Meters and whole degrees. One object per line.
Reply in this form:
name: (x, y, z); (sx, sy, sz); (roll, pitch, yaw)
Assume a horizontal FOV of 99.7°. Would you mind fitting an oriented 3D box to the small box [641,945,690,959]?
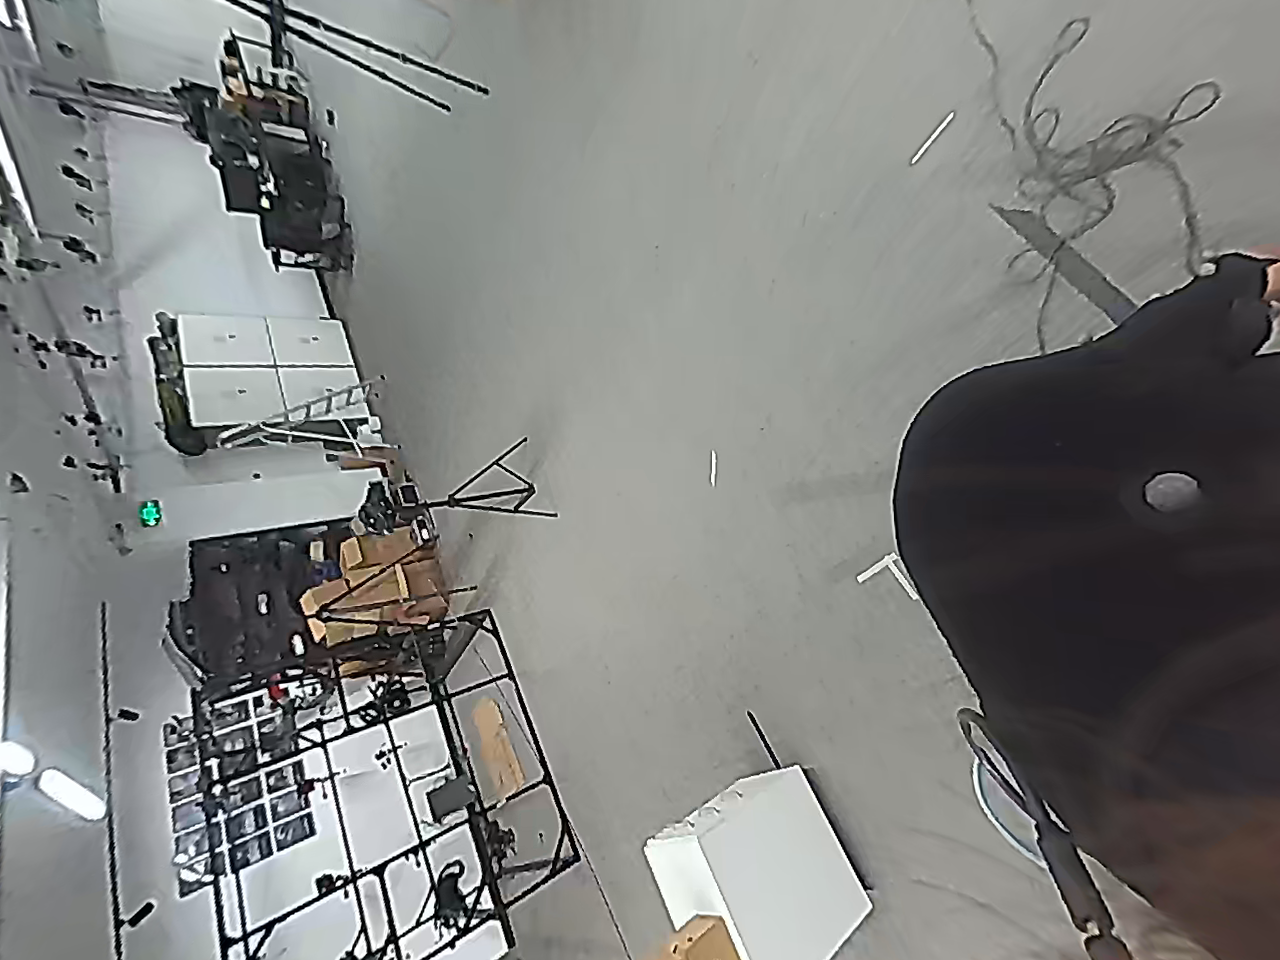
small box: (0.070, 1.546, 1.621); (0.179, 0.176, 0.168); (-48, 62, 47)
